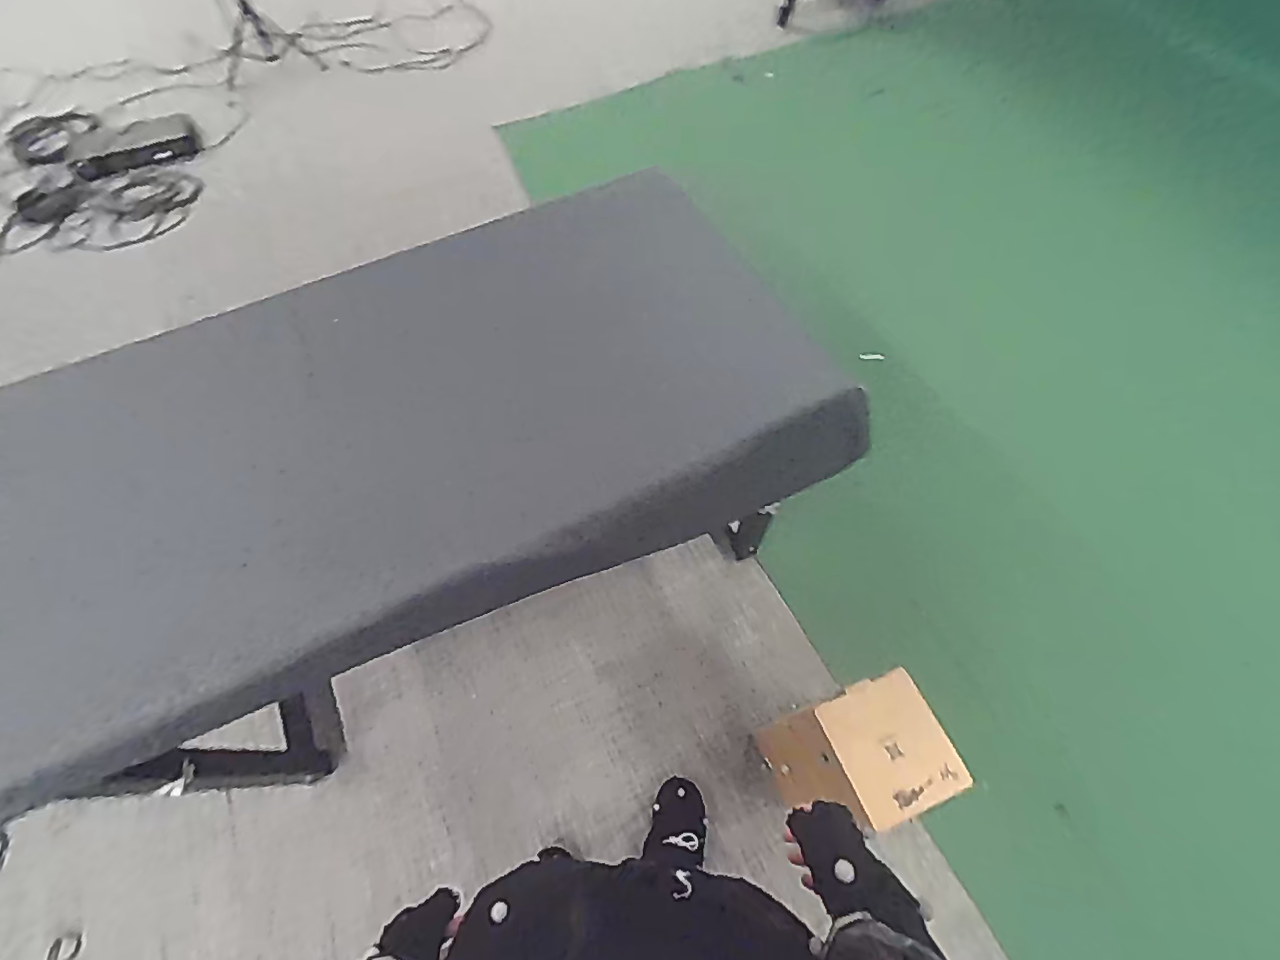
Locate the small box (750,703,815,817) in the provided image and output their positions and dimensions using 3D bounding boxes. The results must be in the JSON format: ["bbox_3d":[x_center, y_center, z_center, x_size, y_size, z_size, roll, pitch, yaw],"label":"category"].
[{"bbox_3d":[0.355,0.587,1.151,0.179,0.176,0.168,-22,63,-9],"label":"small box"}]

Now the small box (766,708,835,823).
[{"bbox_3d":[0.357,0.508,1.006,0.179,0.176,0.168,-21,63,-9],"label":"small box"}]

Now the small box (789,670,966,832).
[{"bbox_3d":[0.360,0.432,0.862,0.168,0.176,0.179,-20,62,-9],"label":"small box"}]
